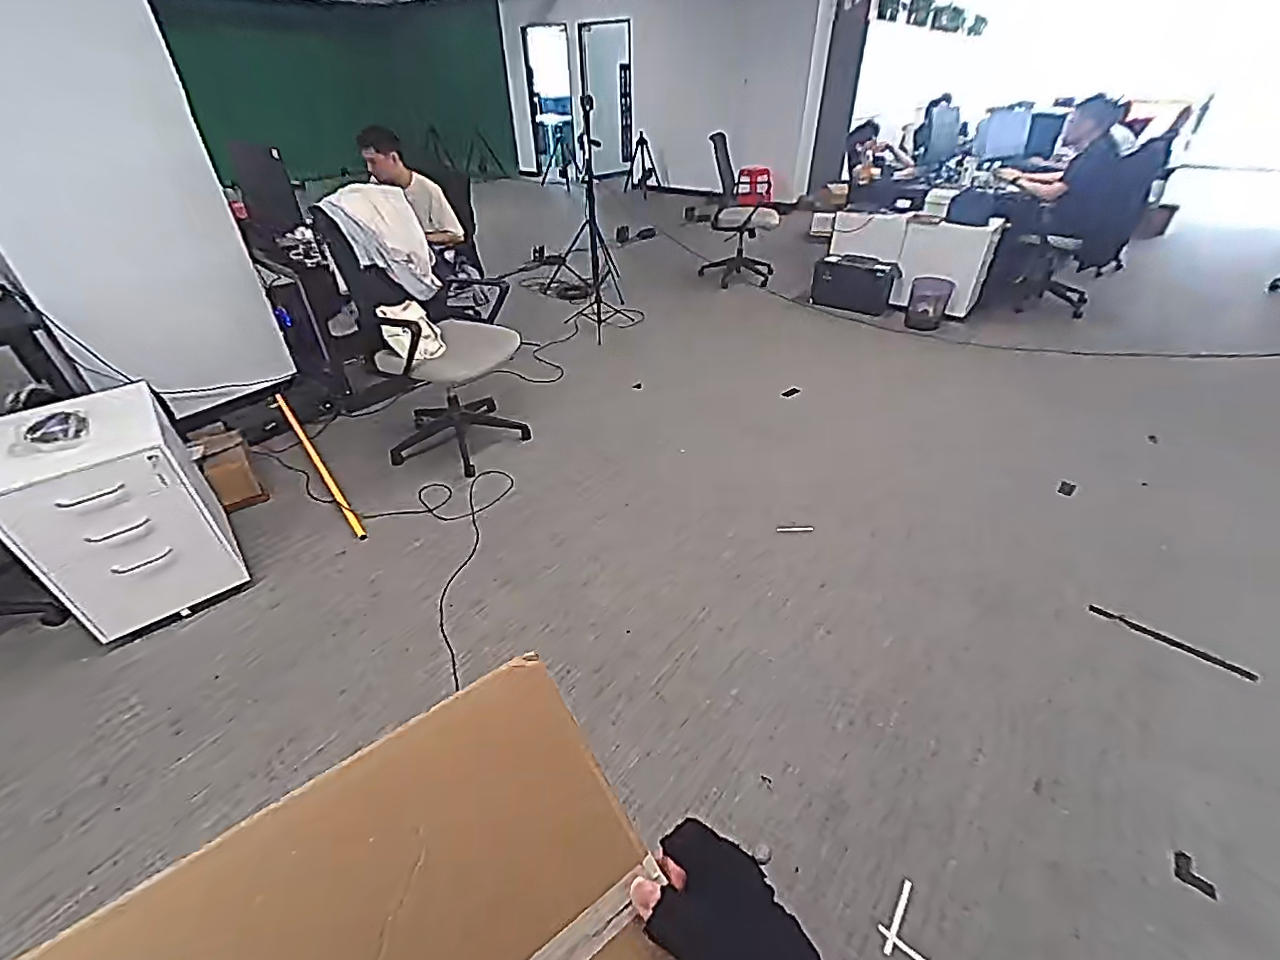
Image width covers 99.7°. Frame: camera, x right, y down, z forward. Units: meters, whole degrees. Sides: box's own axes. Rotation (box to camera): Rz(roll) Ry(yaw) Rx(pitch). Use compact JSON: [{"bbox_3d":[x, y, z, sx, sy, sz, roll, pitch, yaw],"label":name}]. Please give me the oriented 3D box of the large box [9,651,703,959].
[{"bbox_3d":[-0.193,0.386,0.391,0.408,0.320,0.320,-27,76,-25],"label":"large box"}]
